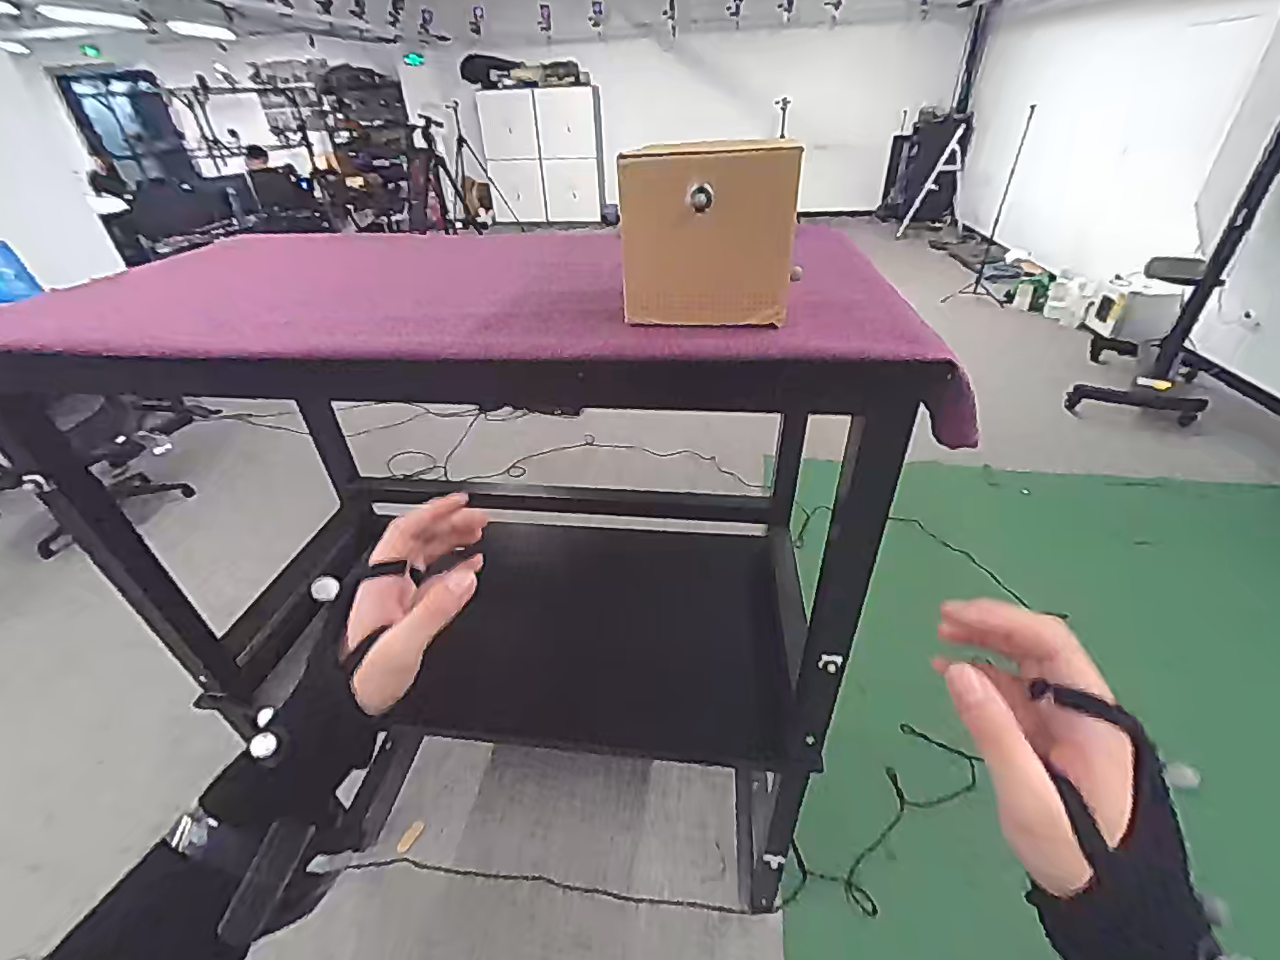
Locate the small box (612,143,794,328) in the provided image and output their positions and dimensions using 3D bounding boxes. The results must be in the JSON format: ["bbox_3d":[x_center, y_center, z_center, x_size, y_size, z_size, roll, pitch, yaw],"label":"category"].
[{"bbox_3d":[0.077,-0.278,0.614,0.179,0.176,0.168,4,35,11],"label":"small box"}]
